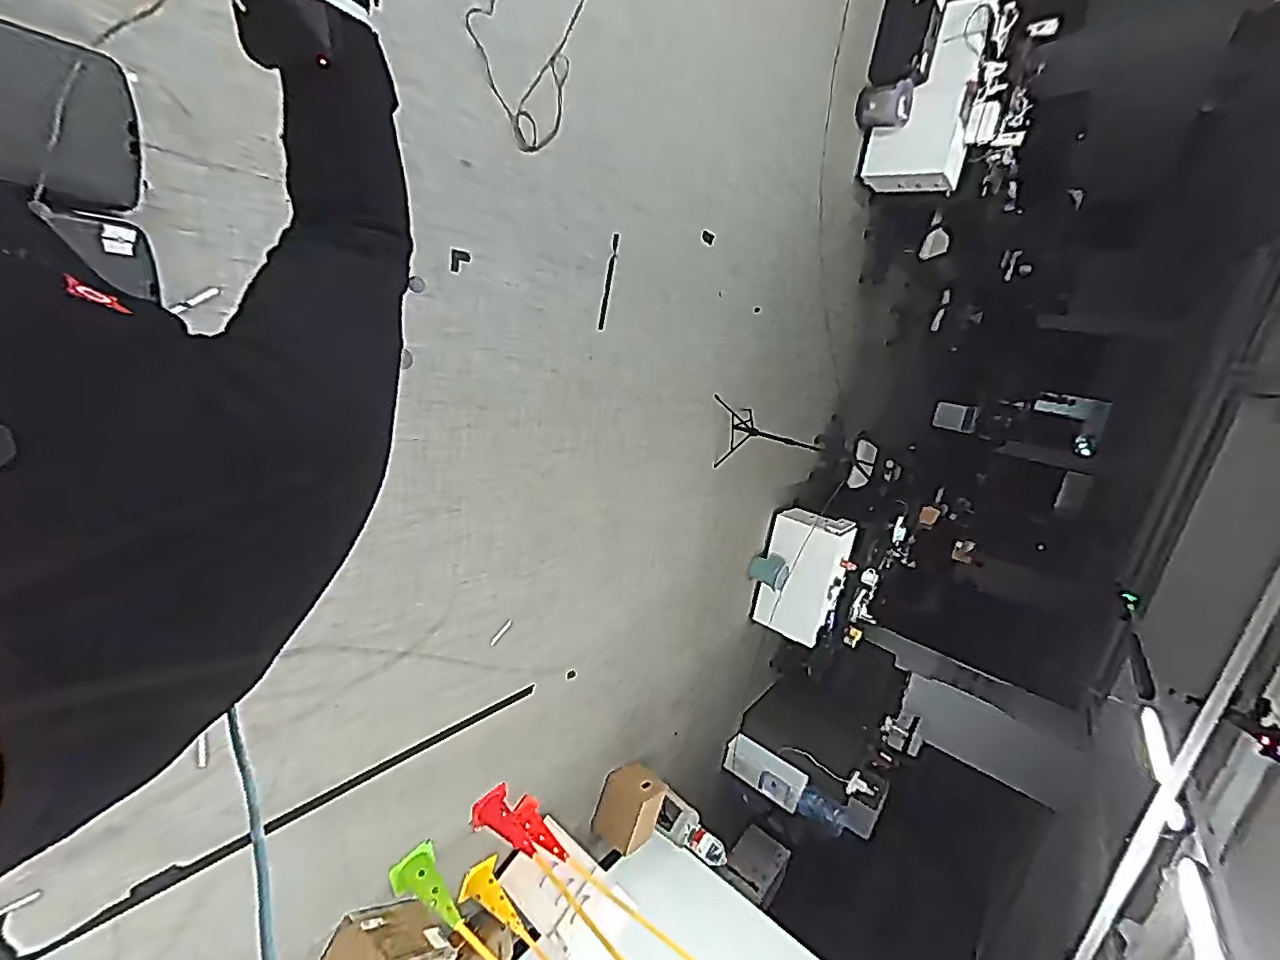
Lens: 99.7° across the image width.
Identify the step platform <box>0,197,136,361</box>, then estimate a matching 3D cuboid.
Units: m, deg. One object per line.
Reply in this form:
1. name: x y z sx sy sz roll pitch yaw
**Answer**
1. step platform: -1.294 -0.356 0.888 0.684 0.204 0.286 -11 115 -49
